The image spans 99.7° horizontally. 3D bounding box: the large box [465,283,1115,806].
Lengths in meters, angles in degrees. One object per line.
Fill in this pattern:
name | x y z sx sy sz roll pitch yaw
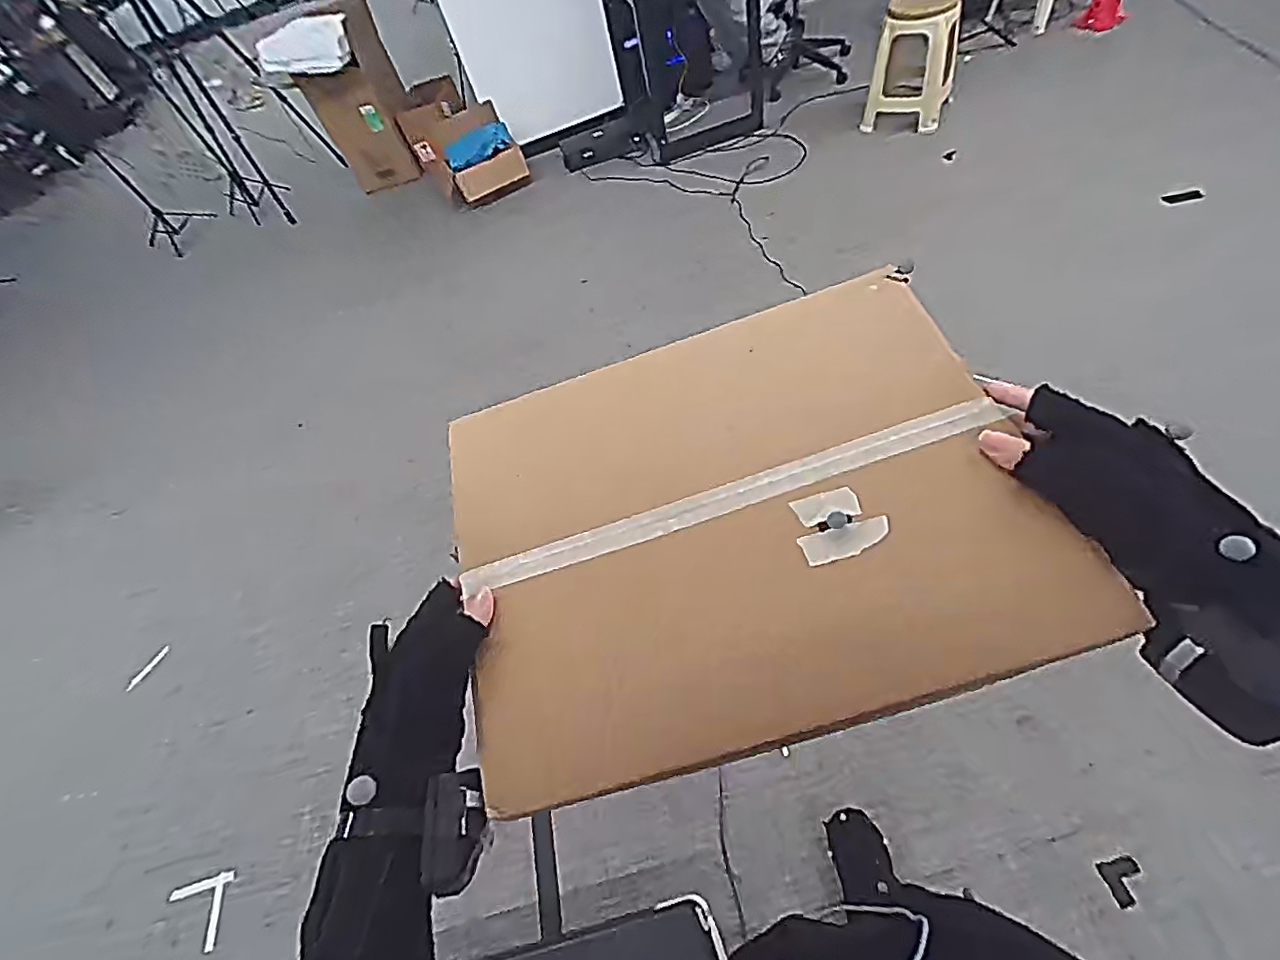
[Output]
large box | 0.094 0.085 0.537 0.408 0.320 0.320 -19 61 3
